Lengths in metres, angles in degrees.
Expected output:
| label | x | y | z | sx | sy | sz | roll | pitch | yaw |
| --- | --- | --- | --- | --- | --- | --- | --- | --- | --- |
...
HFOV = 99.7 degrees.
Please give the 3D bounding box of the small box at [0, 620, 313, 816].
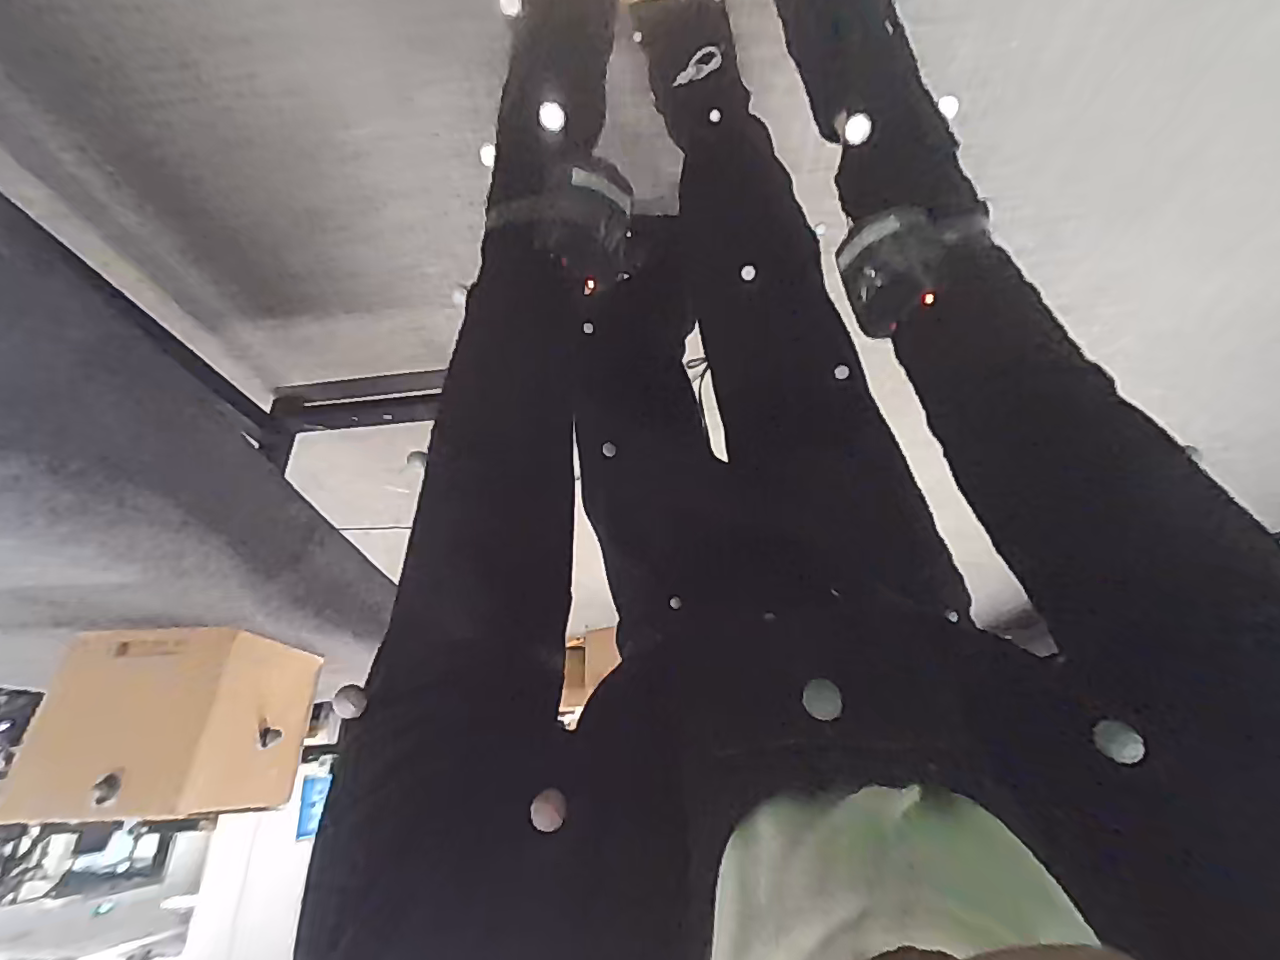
| label | x | y | z | sx | sy | sz | roll | pitch | yaw |
| --- | --- | --- | --- | --- | --- | --- | --- | --- | --- |
| small box | -0.490 | 0.254 | 0.578 | 0.168 | 0.176 | 0.179 | -1 | 152 | 1 |
